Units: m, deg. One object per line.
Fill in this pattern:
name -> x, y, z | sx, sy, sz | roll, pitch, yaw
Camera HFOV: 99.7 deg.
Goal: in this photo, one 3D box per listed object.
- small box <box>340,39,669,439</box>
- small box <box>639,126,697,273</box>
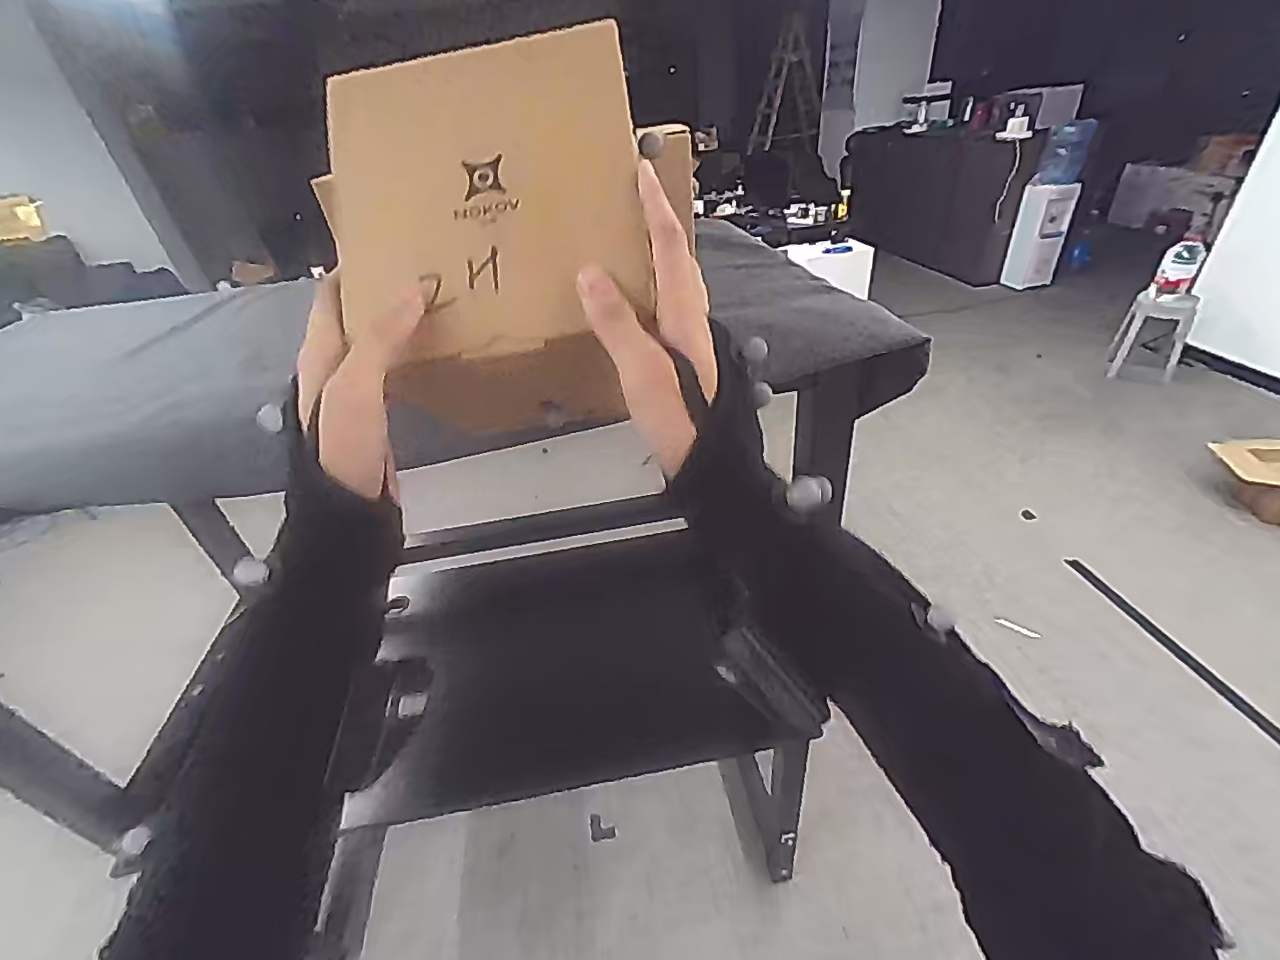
small box -> -0.072, -0.137, 0.369 | 0.168, 0.179, 0.176 | -8, -6, 4
small box -> -0.007, -0.411, 0.805 | 0.168, 0.176, 0.179 | -6, 37, 1
